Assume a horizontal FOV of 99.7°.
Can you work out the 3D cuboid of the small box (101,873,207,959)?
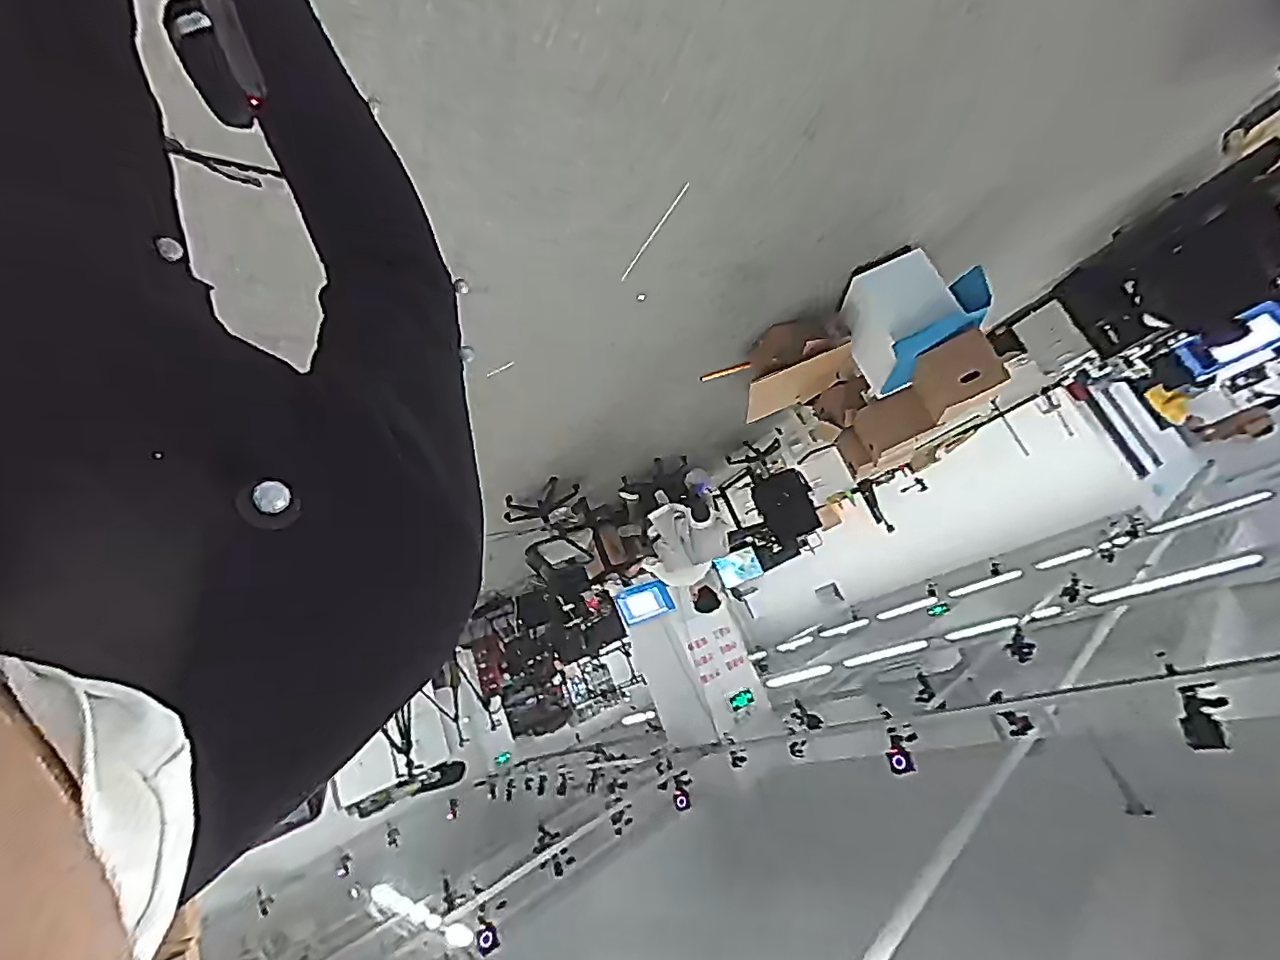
[{"bbox_3d":[-1.288,1.183,1.441,0.179,0.176,0.168,-12,161,-35],"label":"small box"}]
